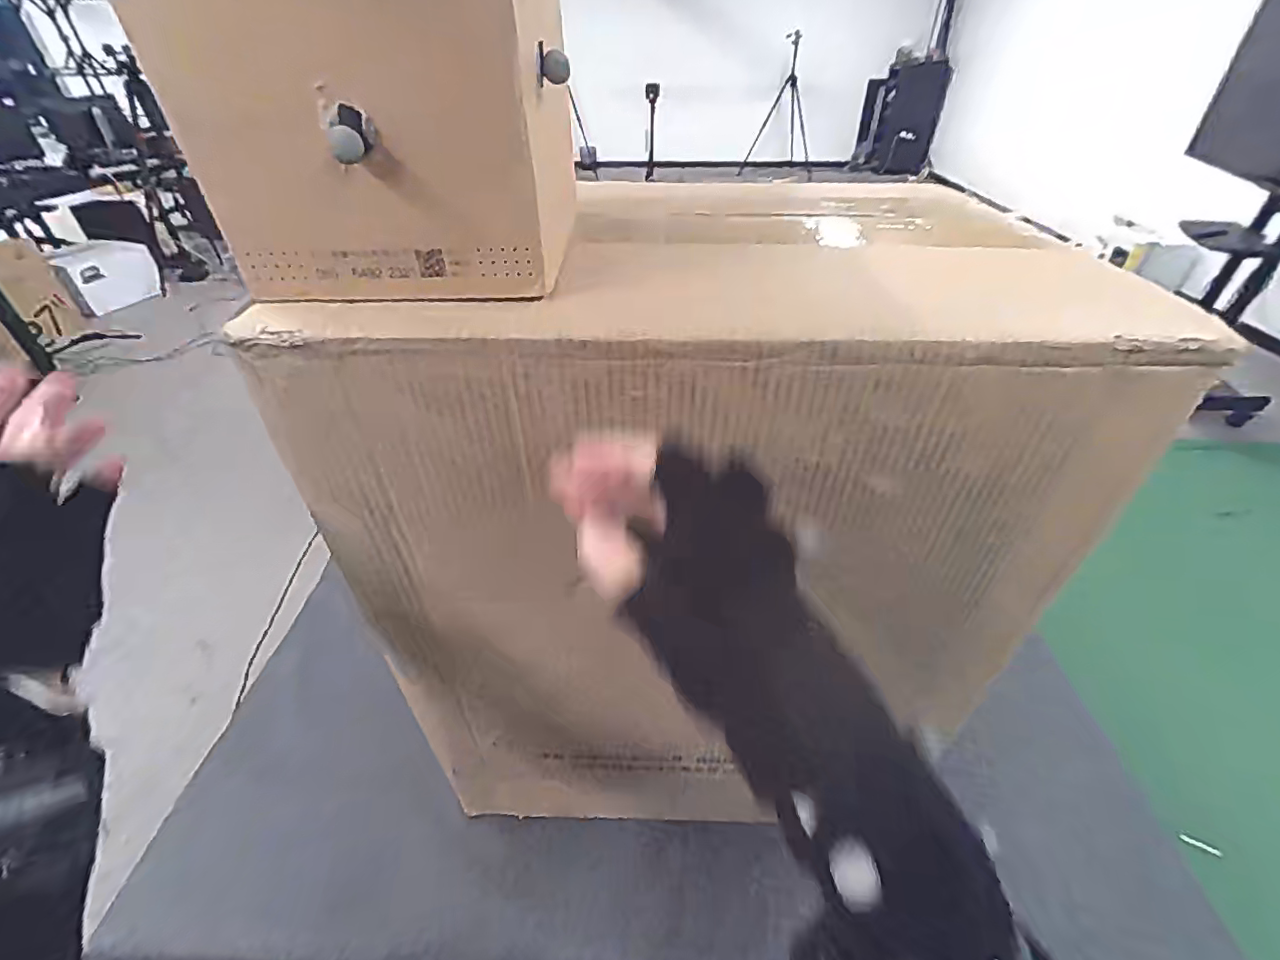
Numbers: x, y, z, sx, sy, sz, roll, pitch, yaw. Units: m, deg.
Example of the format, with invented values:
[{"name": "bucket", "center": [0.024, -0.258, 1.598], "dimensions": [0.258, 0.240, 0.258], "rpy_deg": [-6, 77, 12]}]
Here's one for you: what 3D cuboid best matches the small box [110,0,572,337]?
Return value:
[{"name": "small box", "center": [-0.135, -0.197, 0.332], "dimensions": [0.168, 0.176, 0.179], "rpy_deg": [-3, 40, -1]}]
